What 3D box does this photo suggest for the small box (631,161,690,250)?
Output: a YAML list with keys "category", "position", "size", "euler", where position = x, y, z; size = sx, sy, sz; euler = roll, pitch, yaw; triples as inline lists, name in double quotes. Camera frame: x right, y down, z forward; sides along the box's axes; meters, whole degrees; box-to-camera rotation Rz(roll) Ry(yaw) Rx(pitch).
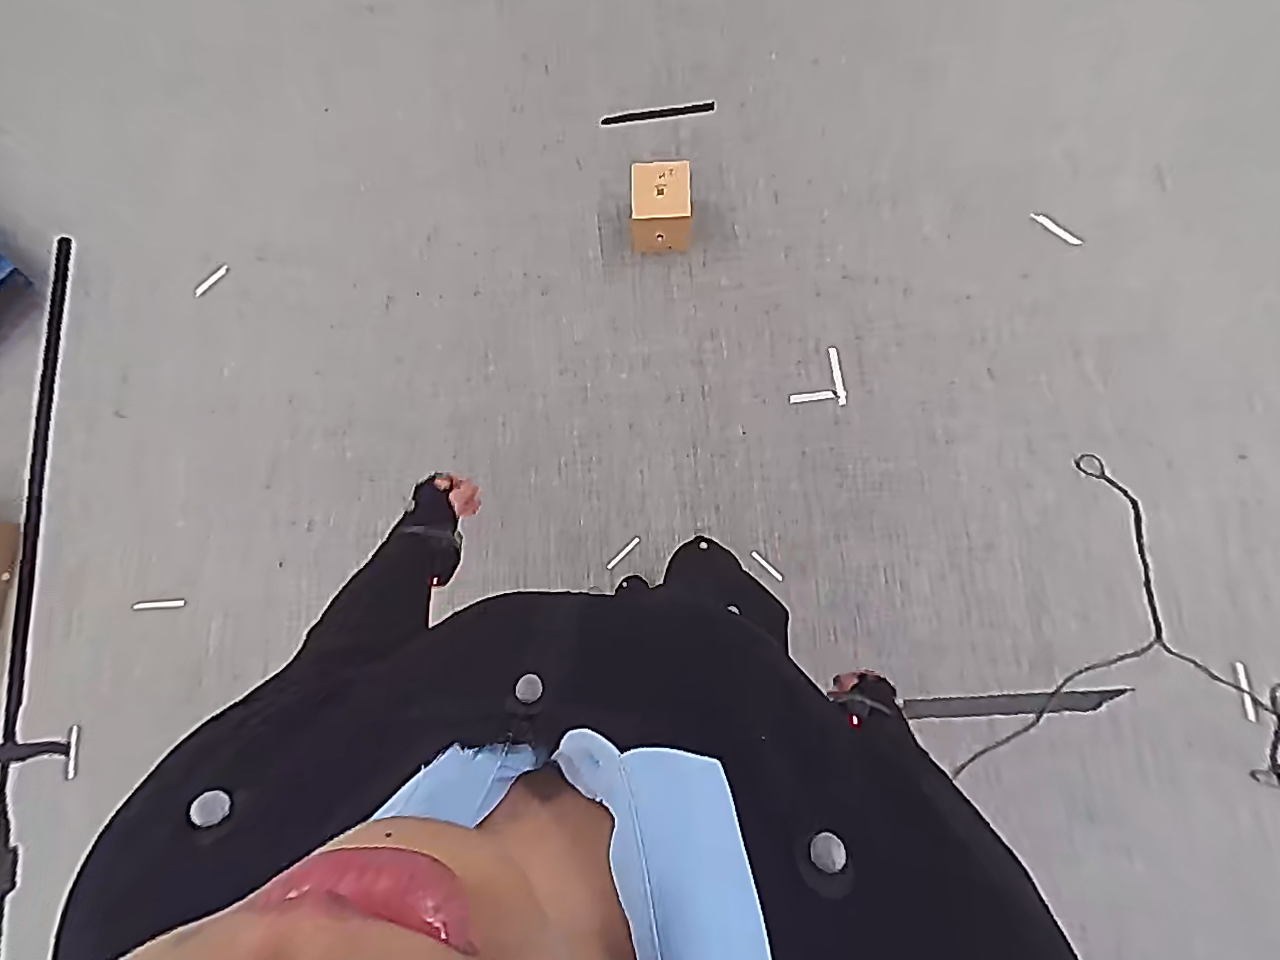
- category: "small box"
  position: [0.062, -0.794, 1.584]
  size: [0.168, 0.176, 0.179]
  euler: [-1, 80, 3]
